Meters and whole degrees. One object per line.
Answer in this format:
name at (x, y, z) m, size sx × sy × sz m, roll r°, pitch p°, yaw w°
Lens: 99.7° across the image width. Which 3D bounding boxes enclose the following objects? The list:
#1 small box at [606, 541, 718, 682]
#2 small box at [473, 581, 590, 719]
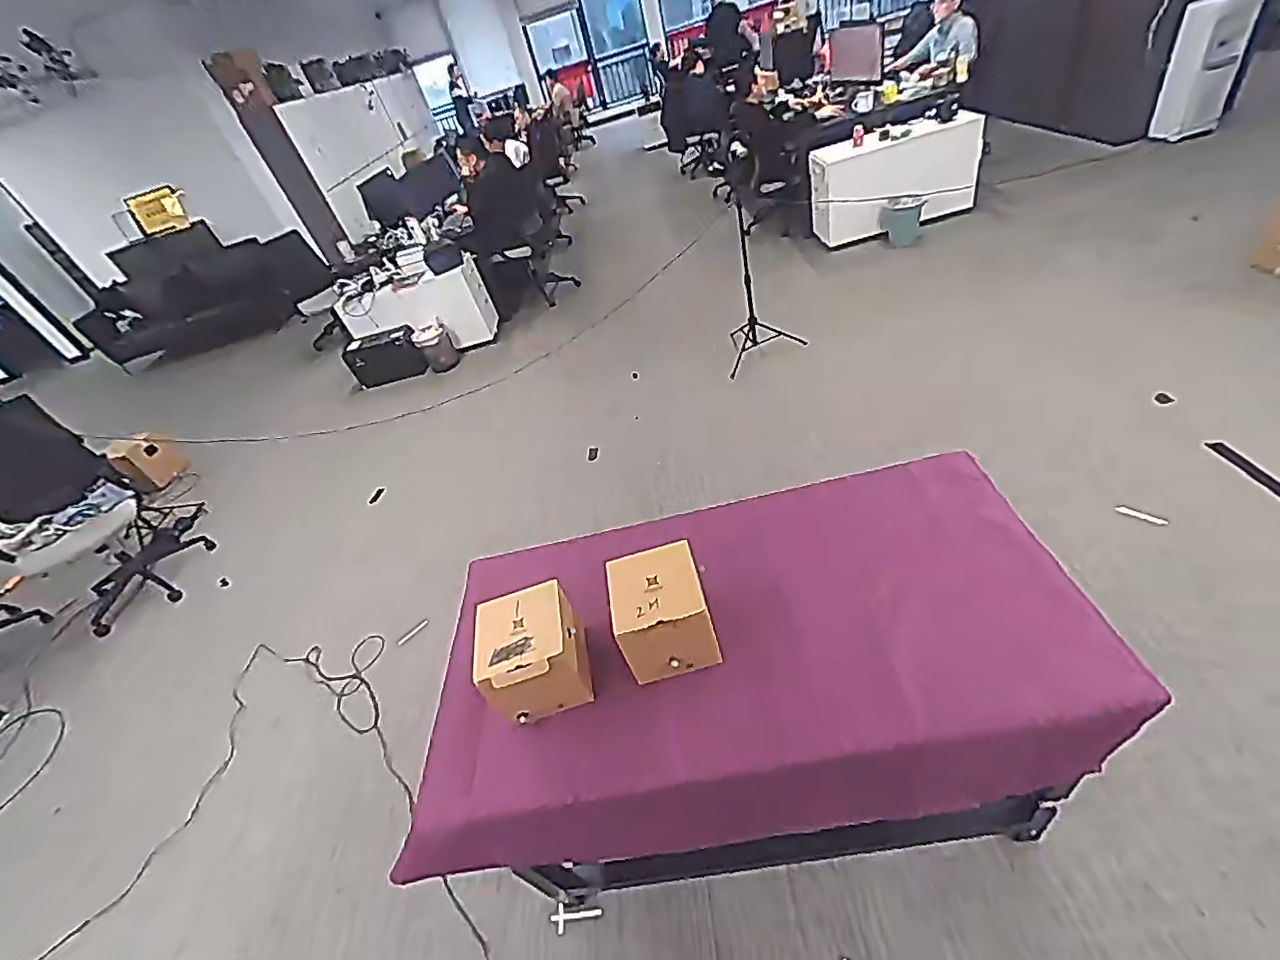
small box at (0.041, 0.251, 1.029) m, size 0.168 × 0.176 × 0.179 m, roll -17°, pitch 40°, yaw 4°
small box at (-0.203, 0.332, 1.034) m, size 0.168 × 0.176 × 0.179 m, roll -19°, pitch 39°, yaw 0°
